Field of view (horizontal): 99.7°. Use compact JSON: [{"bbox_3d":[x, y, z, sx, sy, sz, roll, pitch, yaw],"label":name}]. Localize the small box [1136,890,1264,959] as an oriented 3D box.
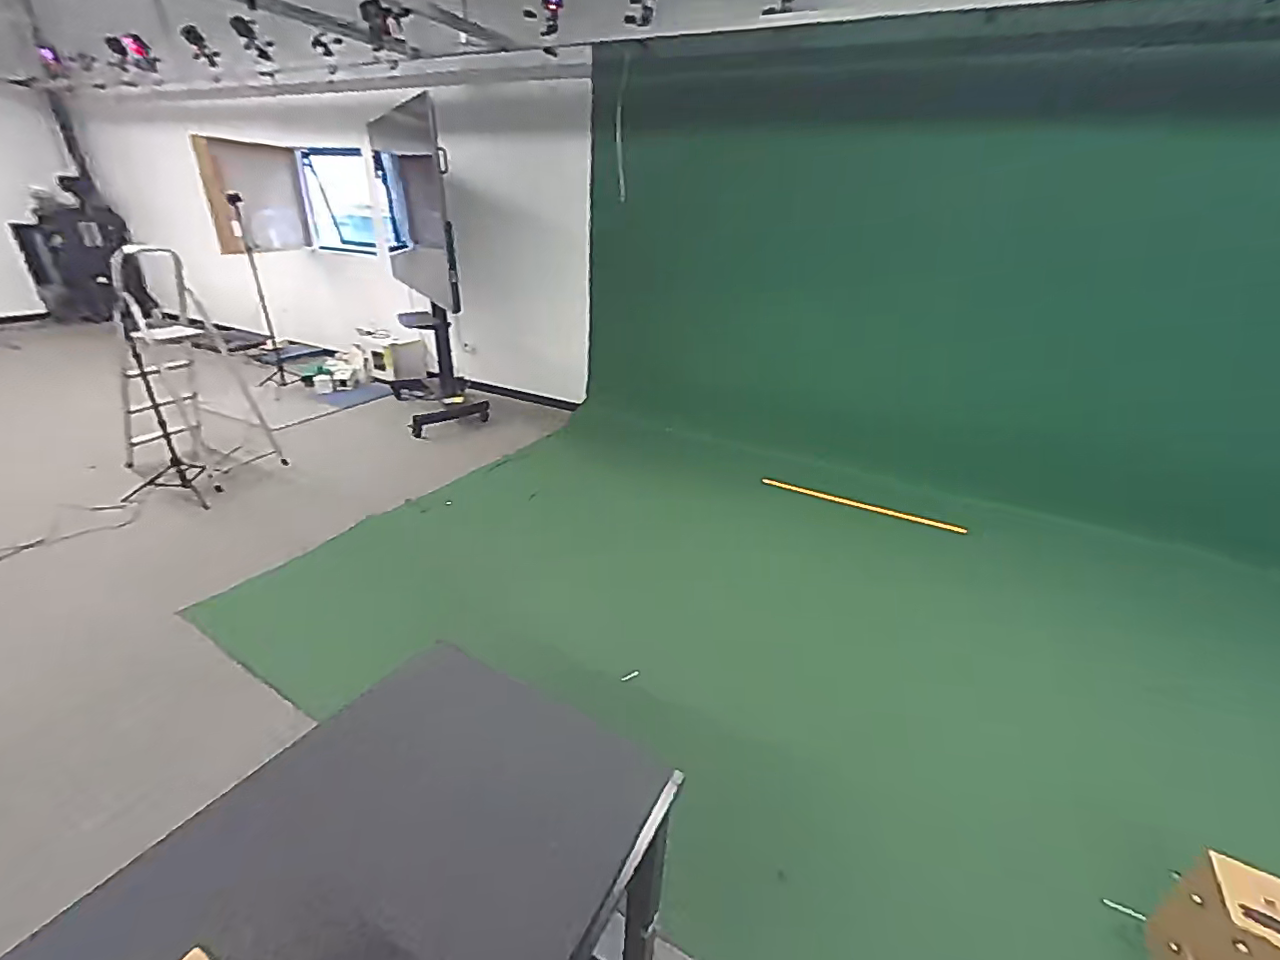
[{"bbox_3d":[1.306,1.128,1.260,0.168,0.176,0.179,17,29,26],"label":"small box"}]
